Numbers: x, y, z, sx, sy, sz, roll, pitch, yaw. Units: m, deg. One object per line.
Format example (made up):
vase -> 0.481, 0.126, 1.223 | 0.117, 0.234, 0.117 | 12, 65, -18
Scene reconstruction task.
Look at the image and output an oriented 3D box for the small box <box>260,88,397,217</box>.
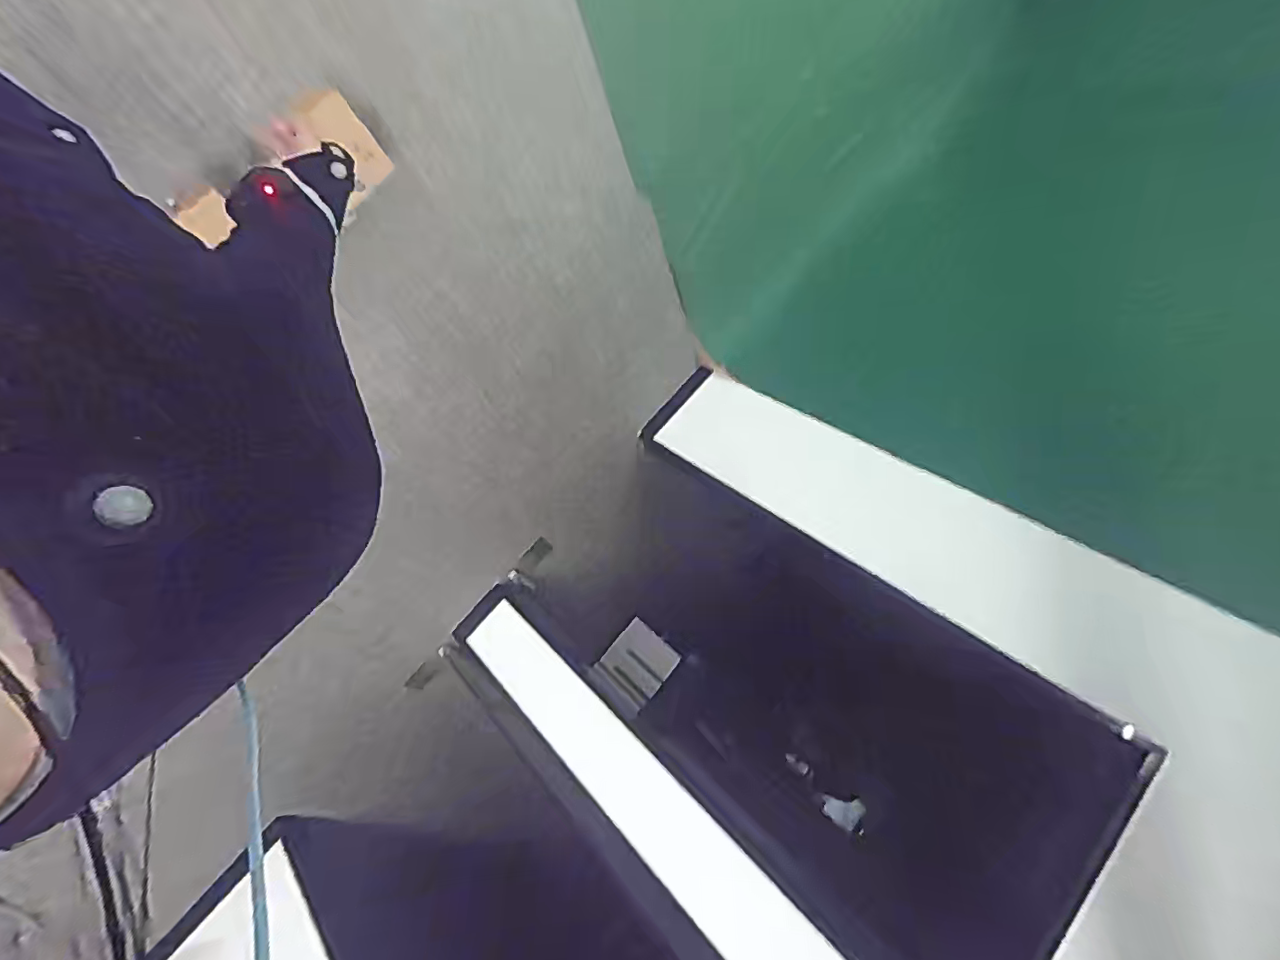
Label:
small box -> -0.669, -0.700, 1.155 | 0.179, 0.176, 0.168 | -50, 146, -10
